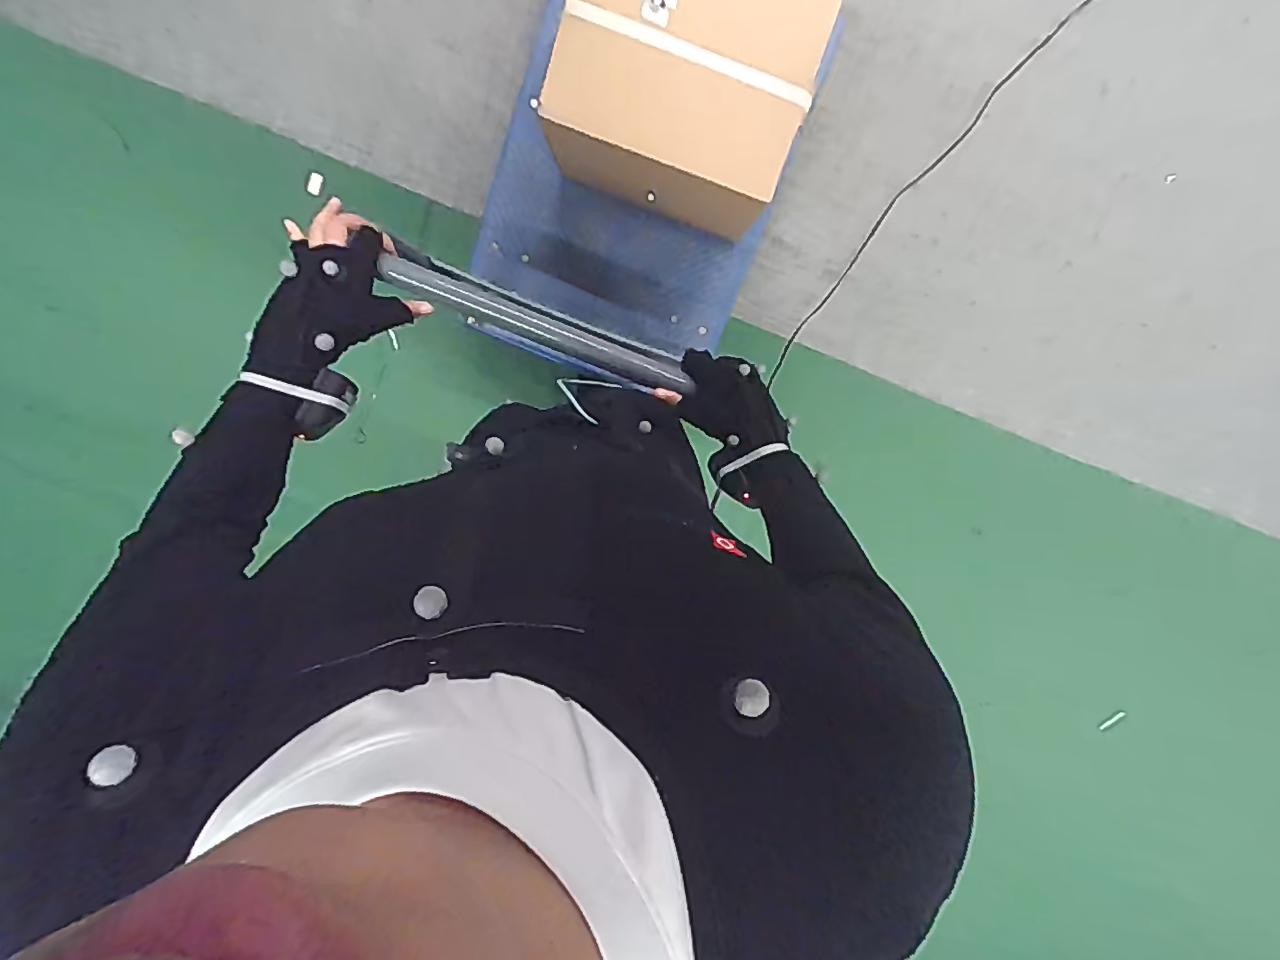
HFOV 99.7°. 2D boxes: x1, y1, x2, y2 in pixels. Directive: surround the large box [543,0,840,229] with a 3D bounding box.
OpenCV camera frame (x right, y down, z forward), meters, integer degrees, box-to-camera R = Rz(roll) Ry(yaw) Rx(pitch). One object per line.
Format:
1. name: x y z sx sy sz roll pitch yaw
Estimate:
1. large box: 0.081 -0.704 0.986 0.408 0.320 0.320 18 102 -4
